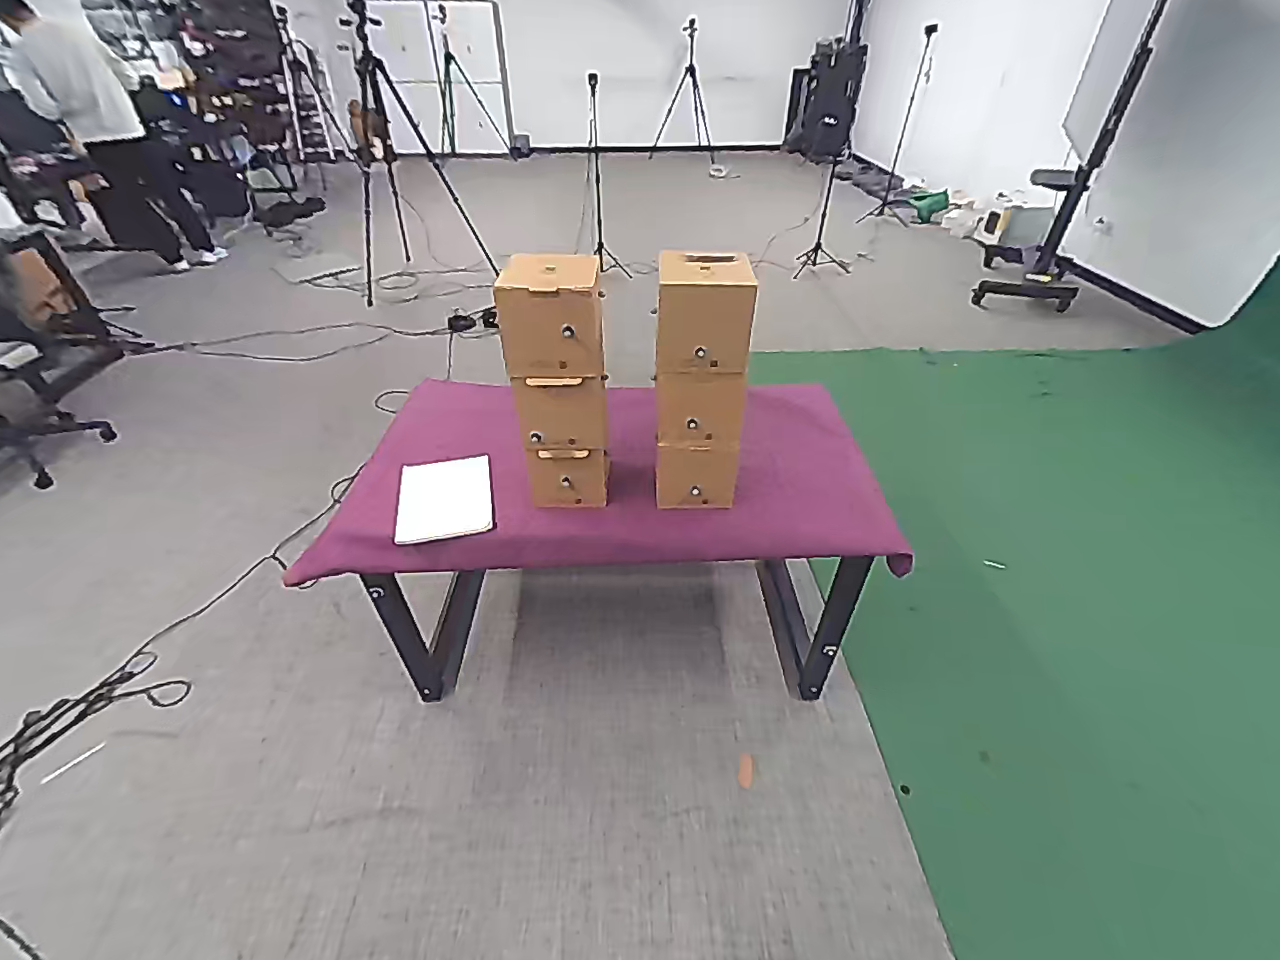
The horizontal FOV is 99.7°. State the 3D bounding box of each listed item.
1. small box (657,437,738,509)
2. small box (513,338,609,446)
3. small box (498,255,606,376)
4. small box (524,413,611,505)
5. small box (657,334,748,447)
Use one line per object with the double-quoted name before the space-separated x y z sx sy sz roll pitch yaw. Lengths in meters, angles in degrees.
"small box" 0.121 -0.054 1.214 0.168 0.176 0.179 -1 39 1
"small box" -0.153 -0.181 1.107 0.168 0.176 0.179 0 39 0
"small box" -0.151 -0.304 1.000 0.168 0.176 0.179 1 39 0
"small box" -0.153 -0.058 1.217 0.168 0.176 0.179 0 40 1
"small box" 0.120 -0.185 1.116 0.168 0.176 0.179 1 39 0
